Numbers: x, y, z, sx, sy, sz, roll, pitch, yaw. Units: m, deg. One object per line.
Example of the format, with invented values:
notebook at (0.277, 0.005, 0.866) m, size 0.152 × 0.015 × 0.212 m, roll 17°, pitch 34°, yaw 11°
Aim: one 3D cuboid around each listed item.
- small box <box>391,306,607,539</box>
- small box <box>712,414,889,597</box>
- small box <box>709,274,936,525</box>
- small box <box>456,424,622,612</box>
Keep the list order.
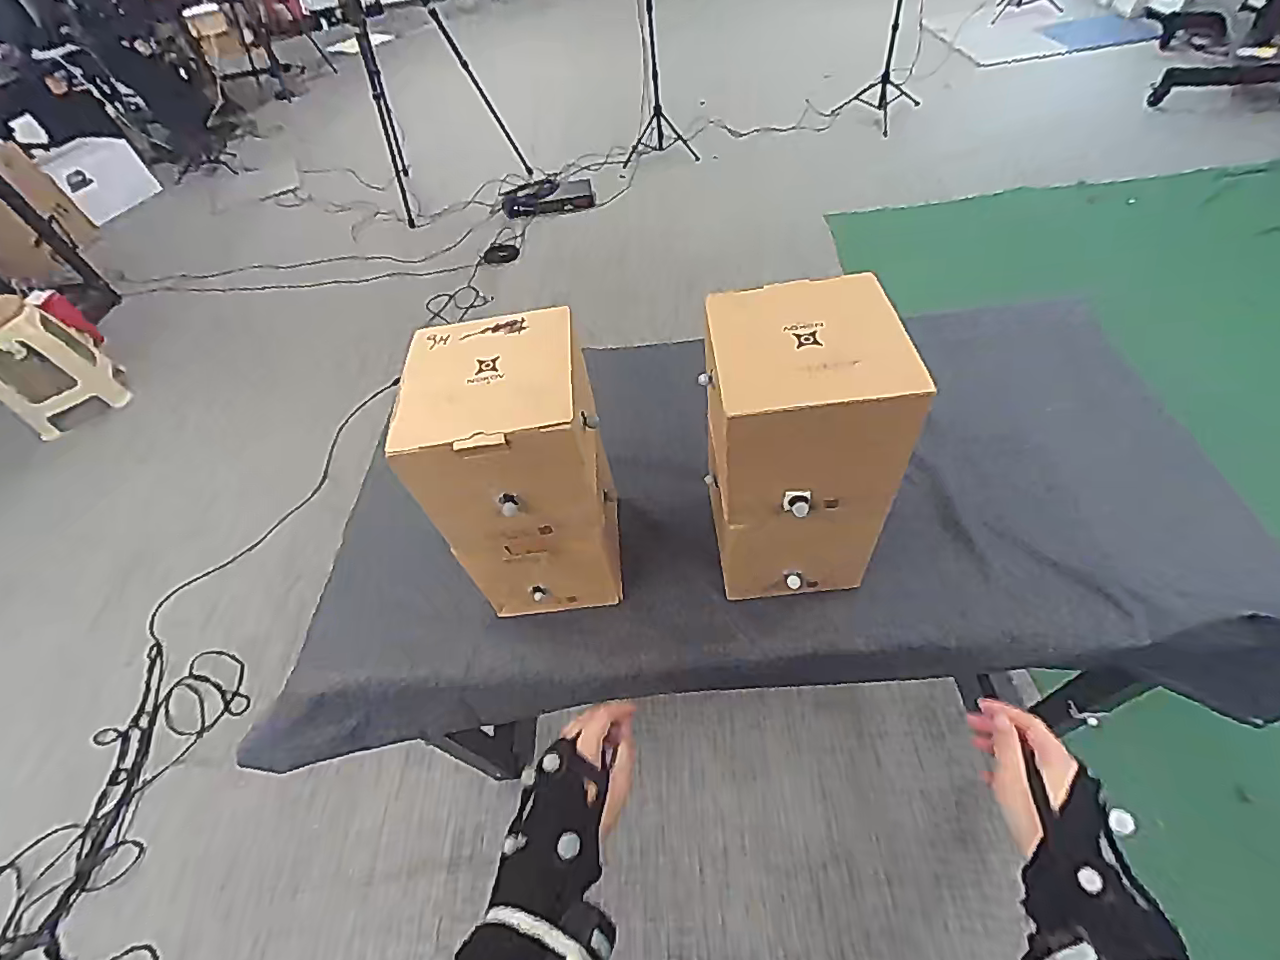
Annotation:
small box at (-0.131, -0.051, 0.570) m, size 0.168 × 0.176 × 0.179 m, roll -8°, pitch 52°, yaw 2°
small box at (0.180, 0.024, 0.669) m, size 0.168 × 0.176 × 0.179 m, roll -7°, pitch 51°, yaw 4°
small box at (0.160, -0.077, 0.543) m, size 0.168 × 0.176 × 0.179 m, roll -7°, pitch 51°, yaw 5°
small box at (-0.117, 0.049, 0.699) m, size 0.168 × 0.176 × 0.179 m, roll -8°, pitch 51°, yaw 2°
